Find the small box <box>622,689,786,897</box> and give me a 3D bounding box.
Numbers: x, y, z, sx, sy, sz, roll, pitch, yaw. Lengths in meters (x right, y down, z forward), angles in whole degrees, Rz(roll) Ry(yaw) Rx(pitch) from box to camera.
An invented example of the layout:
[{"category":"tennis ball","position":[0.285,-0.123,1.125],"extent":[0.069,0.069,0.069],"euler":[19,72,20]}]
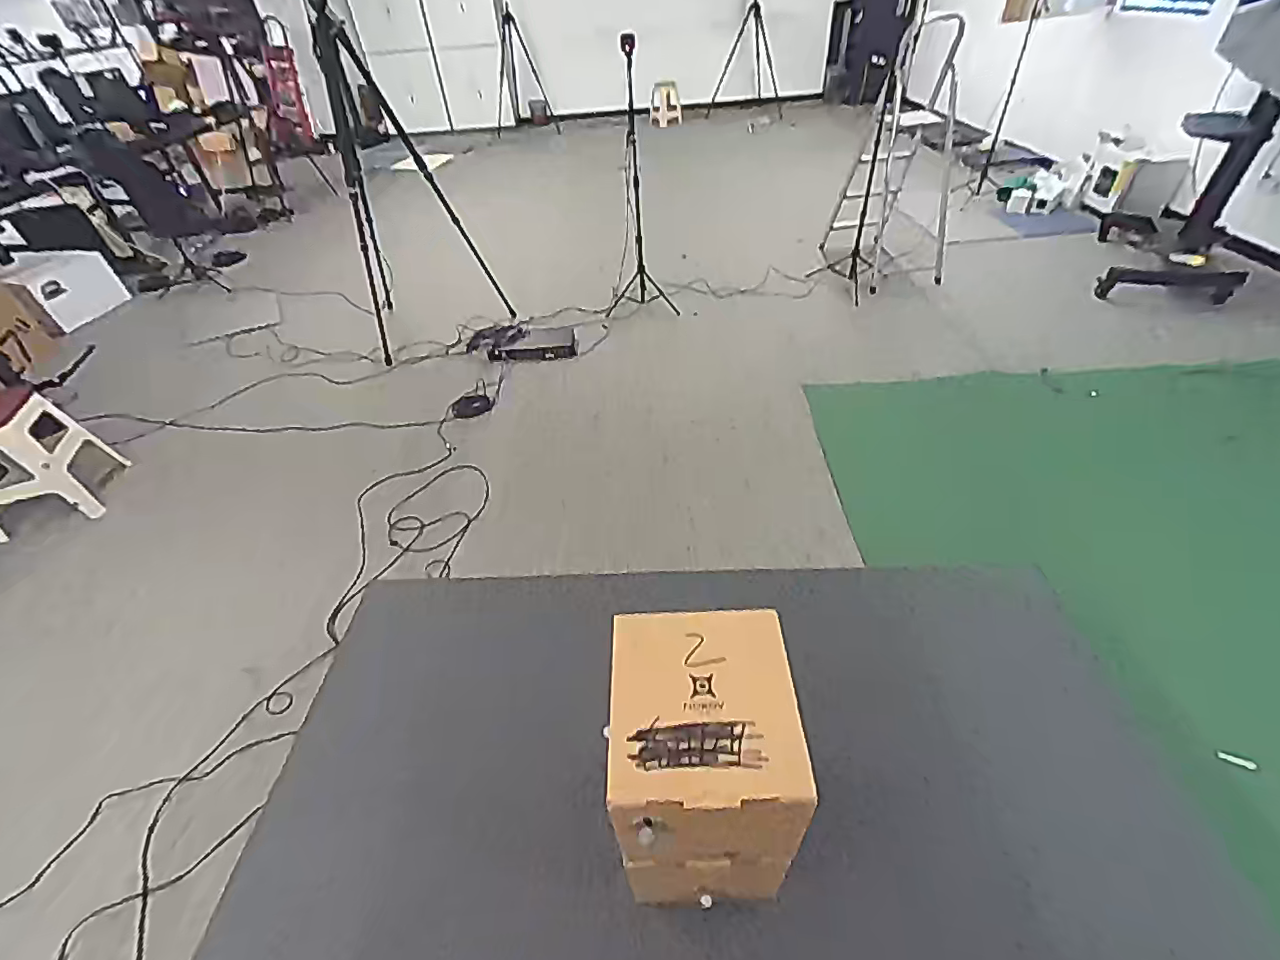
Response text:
[{"category":"small box","position":[0.067,0.374,0.649],"extent":[0.168,0.176,0.179],"euler":[-3,43,2]}]
